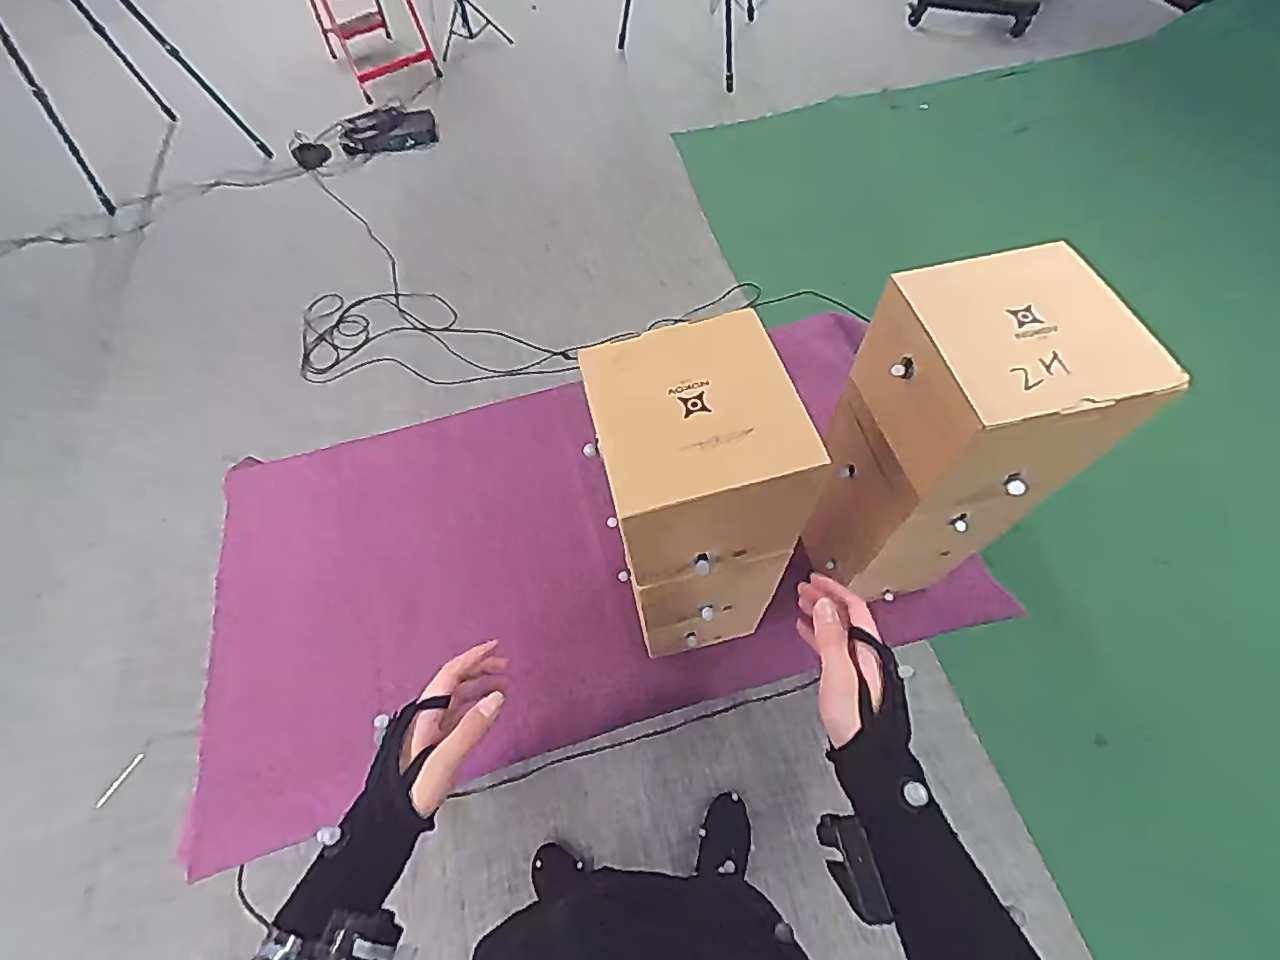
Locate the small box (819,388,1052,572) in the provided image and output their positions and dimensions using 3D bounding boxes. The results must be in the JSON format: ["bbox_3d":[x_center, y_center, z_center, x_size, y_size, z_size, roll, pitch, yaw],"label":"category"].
[{"bbox_3d":[0.333,-0.008,0.662,0.168,0.176,0.179,-12,60,-1],"label":"small box"}]

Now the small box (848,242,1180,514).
[{"bbox_3d":[0.322,-0.090,0.519,0.168,0.176,0.179,-11,61,-1],"label":"small box"}]

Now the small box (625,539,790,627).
[{"bbox_3d":[0.059,0.056,0.650,0.168,0.176,0.179,-14,60,-3],"label":"small box"}]

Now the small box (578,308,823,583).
[{"bbox_3d":[0.046,-0.026,0.510,0.168,0.176,0.179,-14,60,-2],"label":"small box"}]

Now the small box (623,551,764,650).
[{"bbox_3d":[0.070,0.138,0.792,0.168,0.176,0.179,-14,60,-3],"label":"small box"}]
